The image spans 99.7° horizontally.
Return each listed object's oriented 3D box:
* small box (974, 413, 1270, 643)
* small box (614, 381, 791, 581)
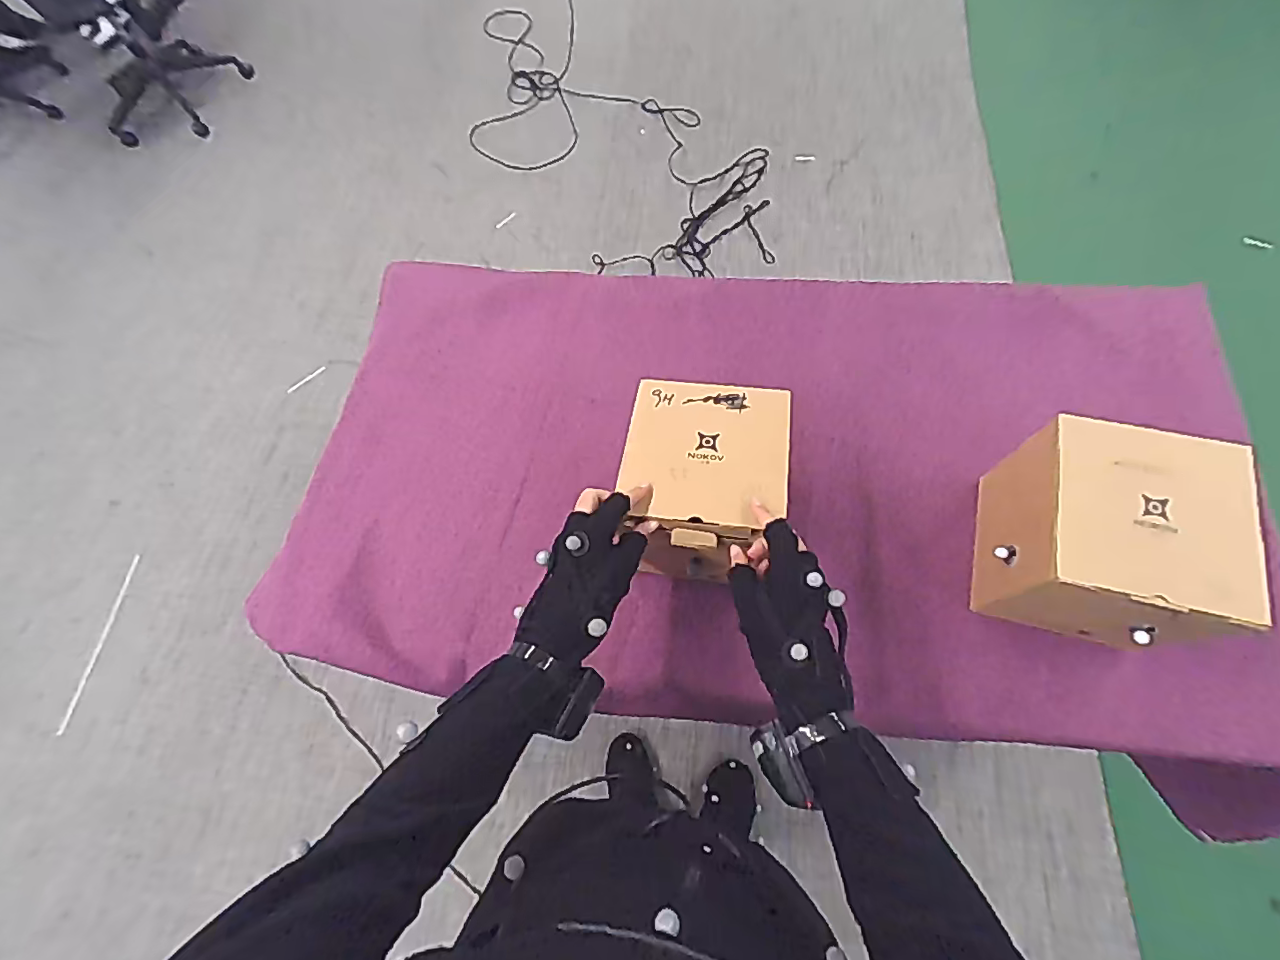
[{"bbox_3d":[0.475,0.059,0.564,0.168,0.176,0.179,13,69,12],"label":"small box"},{"bbox_3d":[0.076,0.009,0.628,0.168,0.176,0.179,6,66,9],"label":"small box"}]
